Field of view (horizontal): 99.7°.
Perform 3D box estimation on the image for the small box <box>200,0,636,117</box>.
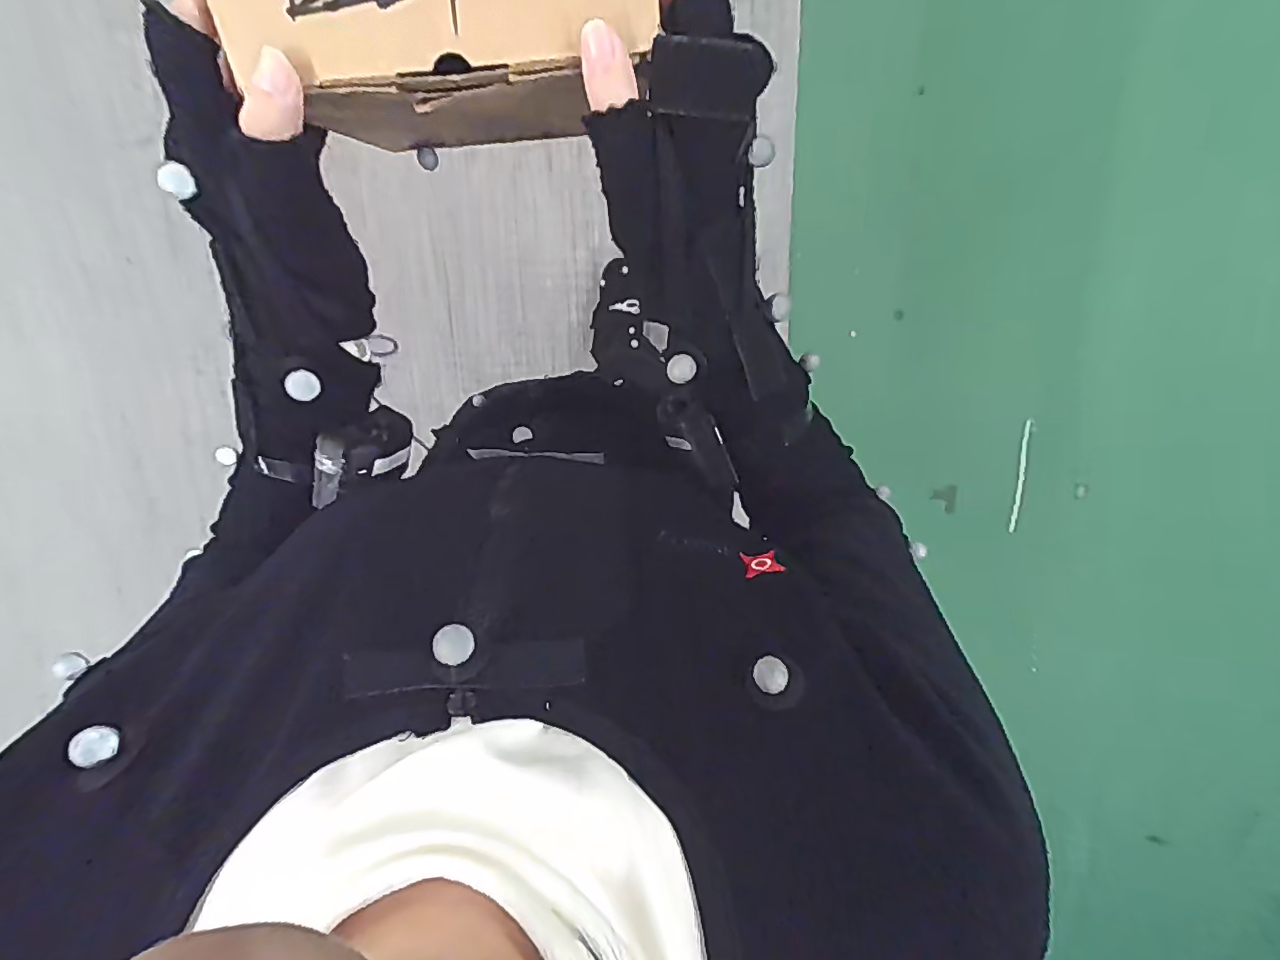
[{"bbox_3d":[-0.090,-0.280,0.243,0.168,0.176,0.179,-6,114,-1],"label":"small box"}]
